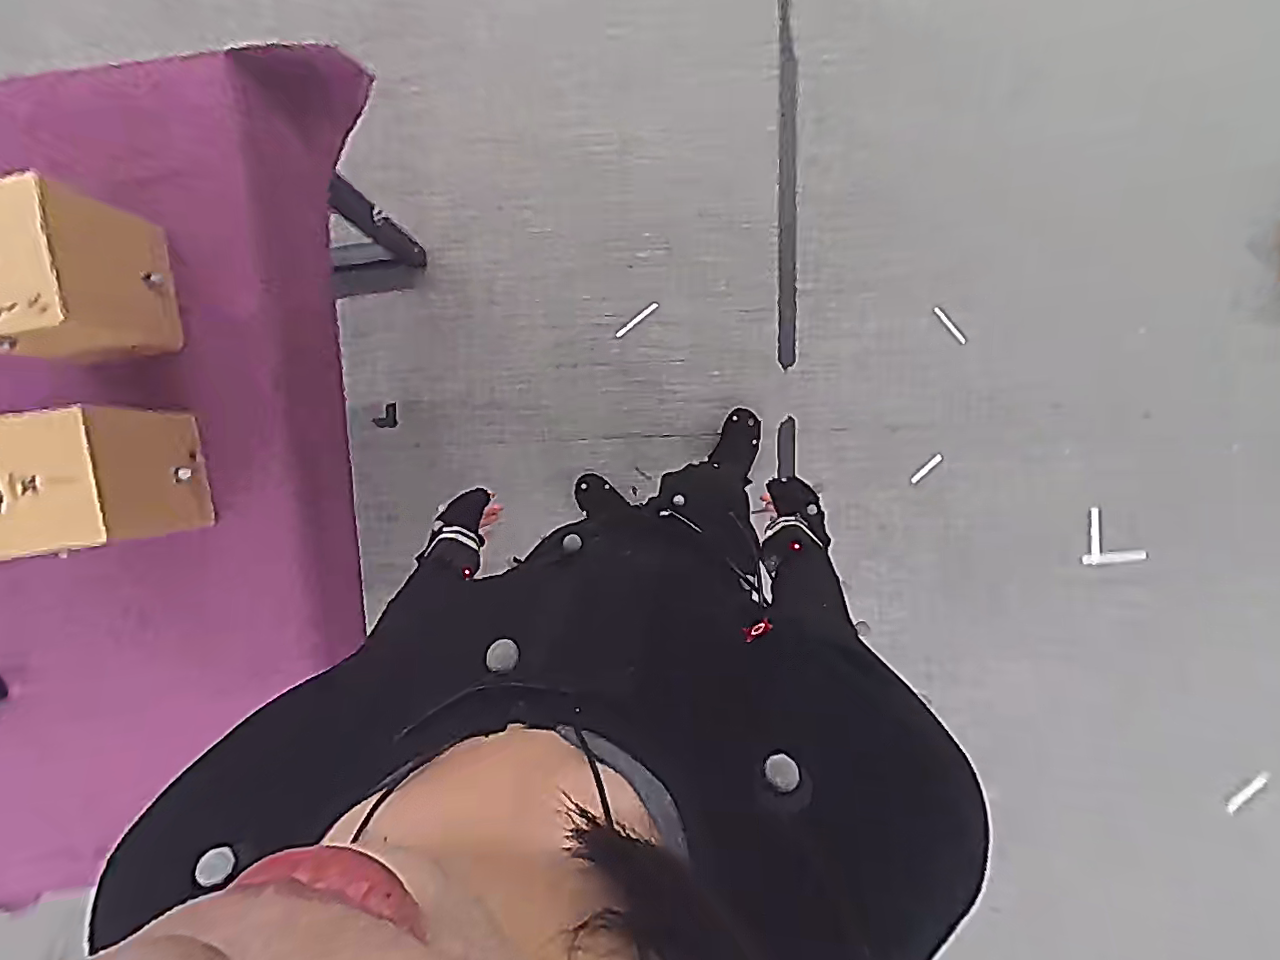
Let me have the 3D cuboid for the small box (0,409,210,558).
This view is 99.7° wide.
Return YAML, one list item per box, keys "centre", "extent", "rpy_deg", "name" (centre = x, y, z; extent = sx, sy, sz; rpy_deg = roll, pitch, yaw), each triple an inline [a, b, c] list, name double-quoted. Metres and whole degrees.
- centre: [-0.727, 0.005, 0.713]
  extent: [0.179, 0.176, 0.168]
  rpy_deg: [-8, 93, 1]
  name: "small box"

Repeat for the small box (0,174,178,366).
- centre: [-0.756, -0.257, 0.700]
  extent: [0.168, 0.176, 0.179]
  rpy_deg: [-8, 93, 2]
  name: "small box"
